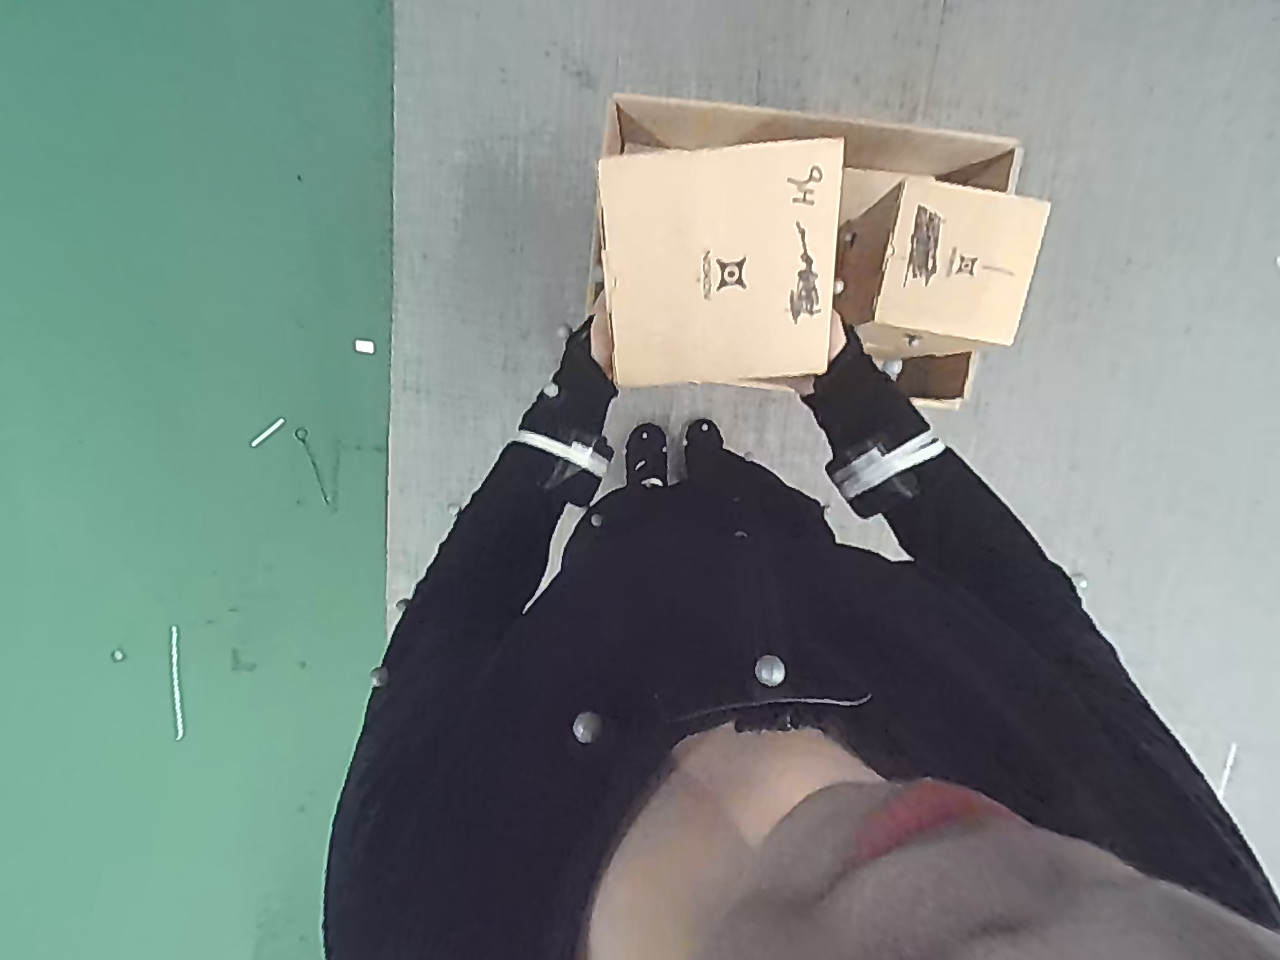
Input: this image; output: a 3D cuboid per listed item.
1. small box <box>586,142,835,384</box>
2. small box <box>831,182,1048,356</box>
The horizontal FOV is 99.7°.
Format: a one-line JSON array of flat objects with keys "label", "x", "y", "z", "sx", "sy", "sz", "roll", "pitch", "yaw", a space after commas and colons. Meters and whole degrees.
[{"label": "small box", "x": 0.054, "y": -0.187, "z": 0.479, "sx": 0.179, "sy": 0.176, "sz": 0.168, "roll": -3, "pitch": 114, "yaw": 2}, {"label": "small box", "x": 0.373, "y": -0.262, "z": 0.712, "sx": 0.179, "sy": 0.176, "sz": 0.168, "roll": 10, "pitch": 99, "yaw": -1}]
